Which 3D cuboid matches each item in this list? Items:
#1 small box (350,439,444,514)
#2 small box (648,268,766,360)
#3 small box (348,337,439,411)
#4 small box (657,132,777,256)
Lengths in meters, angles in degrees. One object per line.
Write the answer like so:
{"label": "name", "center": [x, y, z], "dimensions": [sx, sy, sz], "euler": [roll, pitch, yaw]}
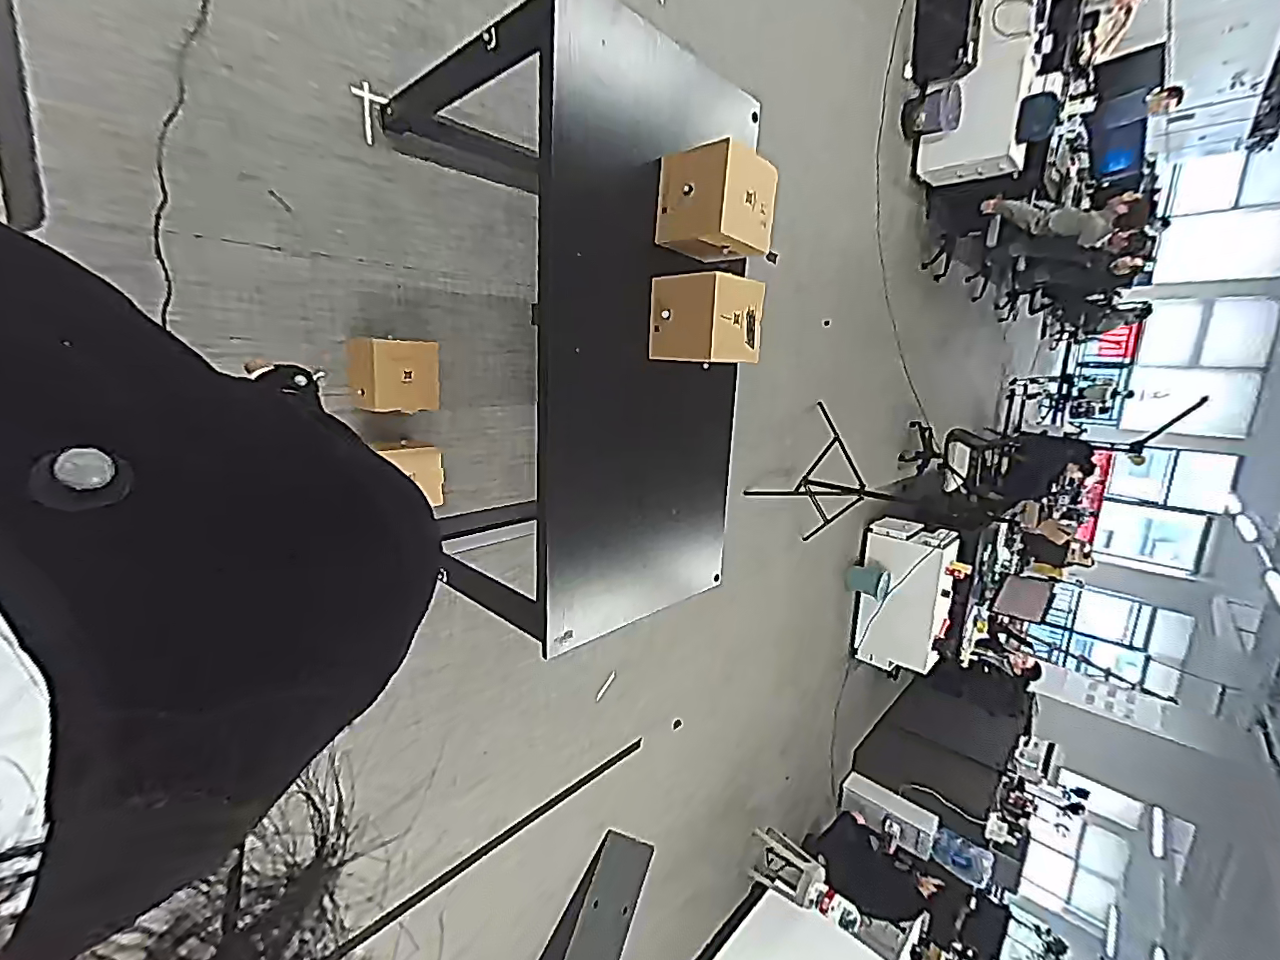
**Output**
{"label": "small box", "center": [-0.650, -0.017, 1.450], "dimensions": [0.179, 0.176, 0.168], "euler": [-11, 107, -46]}
{"label": "small box", "center": [0.139, -0.341, 1.132], "dimensions": [0.179, 0.176, 0.168], "euler": [-11, 108, -44]}
{"label": "small box", "center": [-0.639, -0.275, 1.401], "dimensions": [0.168, 0.176, 0.179], "euler": [-11, 107, -46]}
{"label": "small box", "center": [0.152, -0.561, 1.091], "dimensions": [0.179, 0.176, 0.168], "euler": [-6, 105, -47]}
